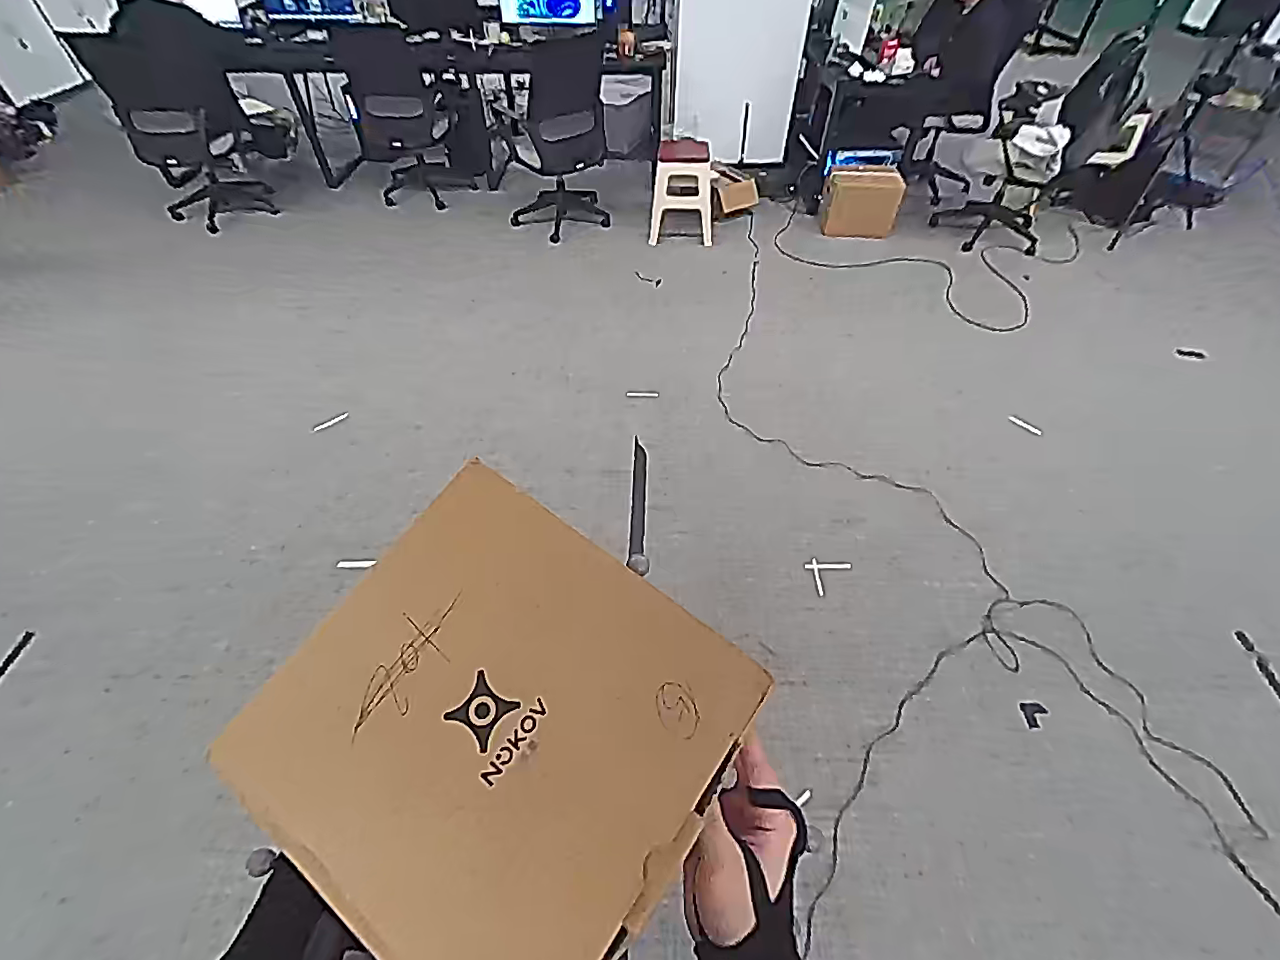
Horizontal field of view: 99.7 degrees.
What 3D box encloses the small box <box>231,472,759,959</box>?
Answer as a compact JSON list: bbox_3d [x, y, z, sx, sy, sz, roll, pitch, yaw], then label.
[{"bbox_3d":[-0.059,0.130,0.309,0.179,0.176,0.168,33,72,16],"label":"small box"}]
